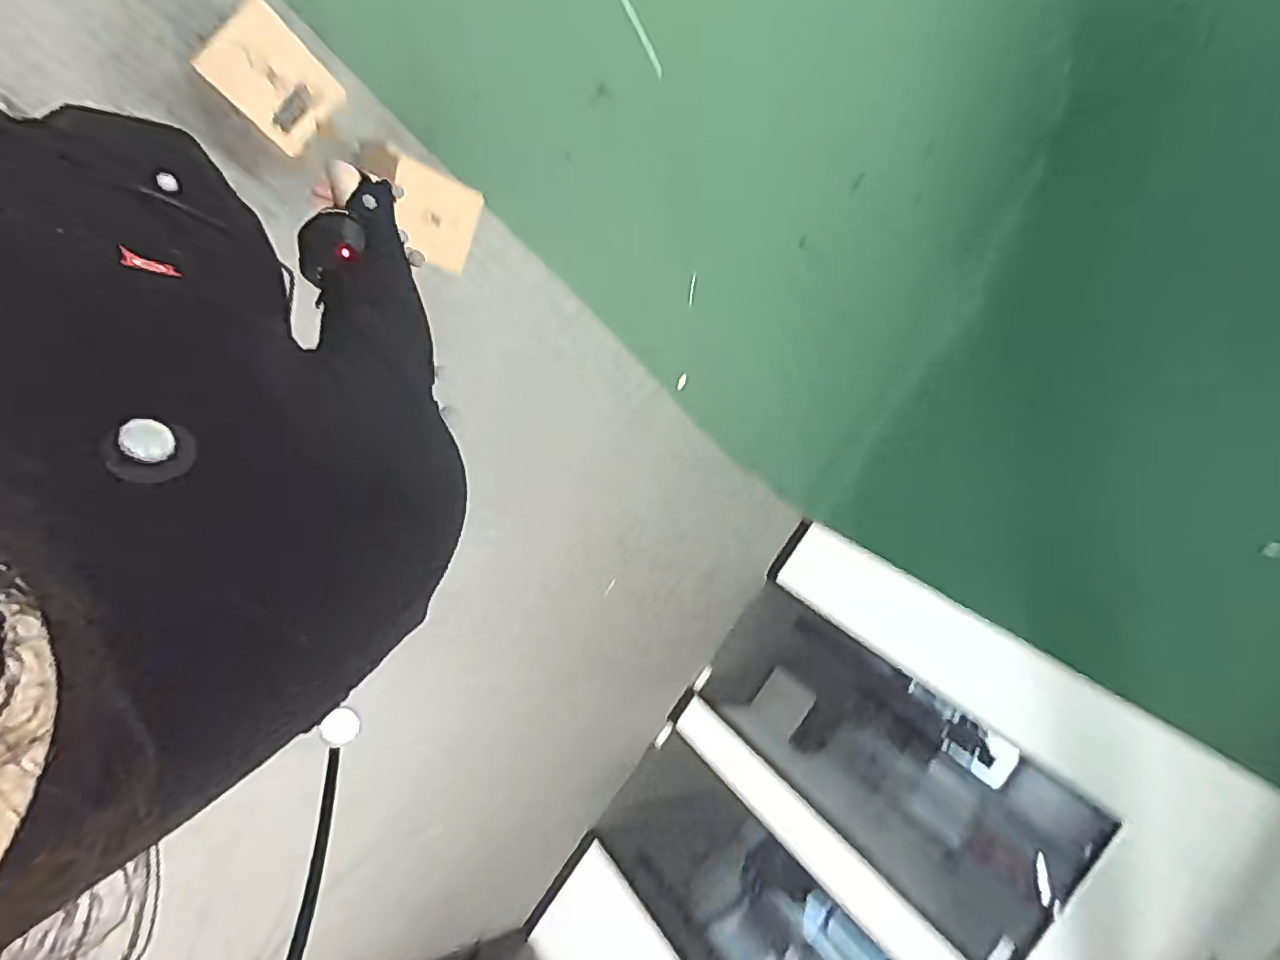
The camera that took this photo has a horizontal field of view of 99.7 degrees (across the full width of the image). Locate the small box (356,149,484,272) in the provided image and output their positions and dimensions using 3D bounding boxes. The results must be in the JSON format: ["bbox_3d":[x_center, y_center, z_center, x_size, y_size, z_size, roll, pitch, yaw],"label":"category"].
[{"bbox_3d":[-0.456,-0.553,1.110,0.179,0.176,0.168,4,116,-48],"label":"small box"}]

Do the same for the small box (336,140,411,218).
[{"bbox_3d":[-0.549,-0.632,1.217,0.179,0.176,0.168,23,100,-51],"label":"small box"}]
